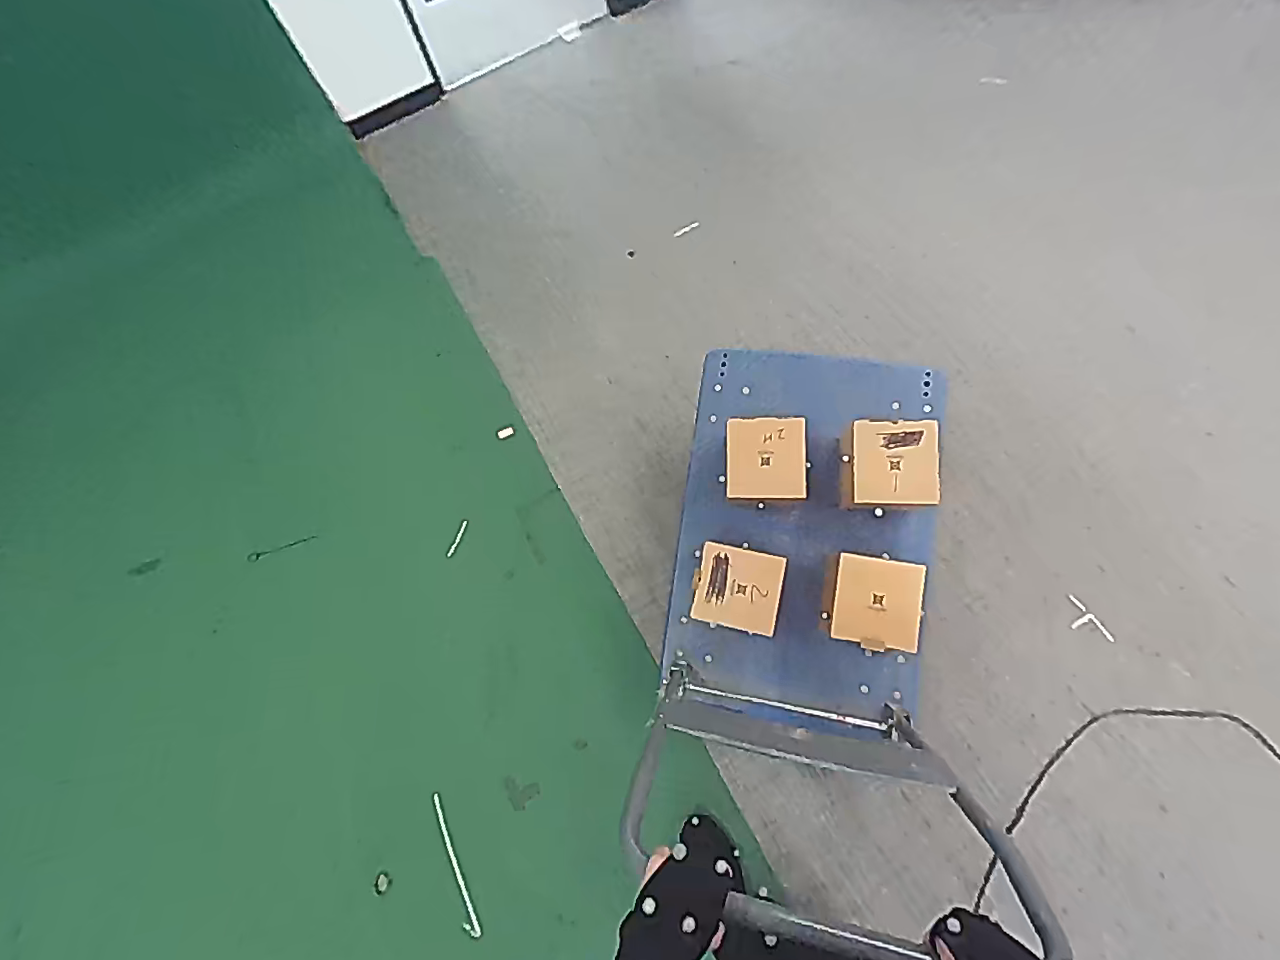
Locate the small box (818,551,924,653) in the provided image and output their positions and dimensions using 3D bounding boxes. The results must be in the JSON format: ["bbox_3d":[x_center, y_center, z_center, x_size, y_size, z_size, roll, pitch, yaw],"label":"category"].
[{"bbox_3d":[0.487,0.254,1.163,0.168,0.176,0.179,9,85,11],"label":"small box"}]

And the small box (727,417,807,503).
[{"bbox_3d":[0.286,-0.041,1.234,0.168,0.176,0.179,2,83,9],"label":"small box"}]

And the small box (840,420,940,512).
[{"bbox_3d":[0.541,-0.026,1.190,0.168,0.176,0.179,2,83,10],"label":"small box"}]
